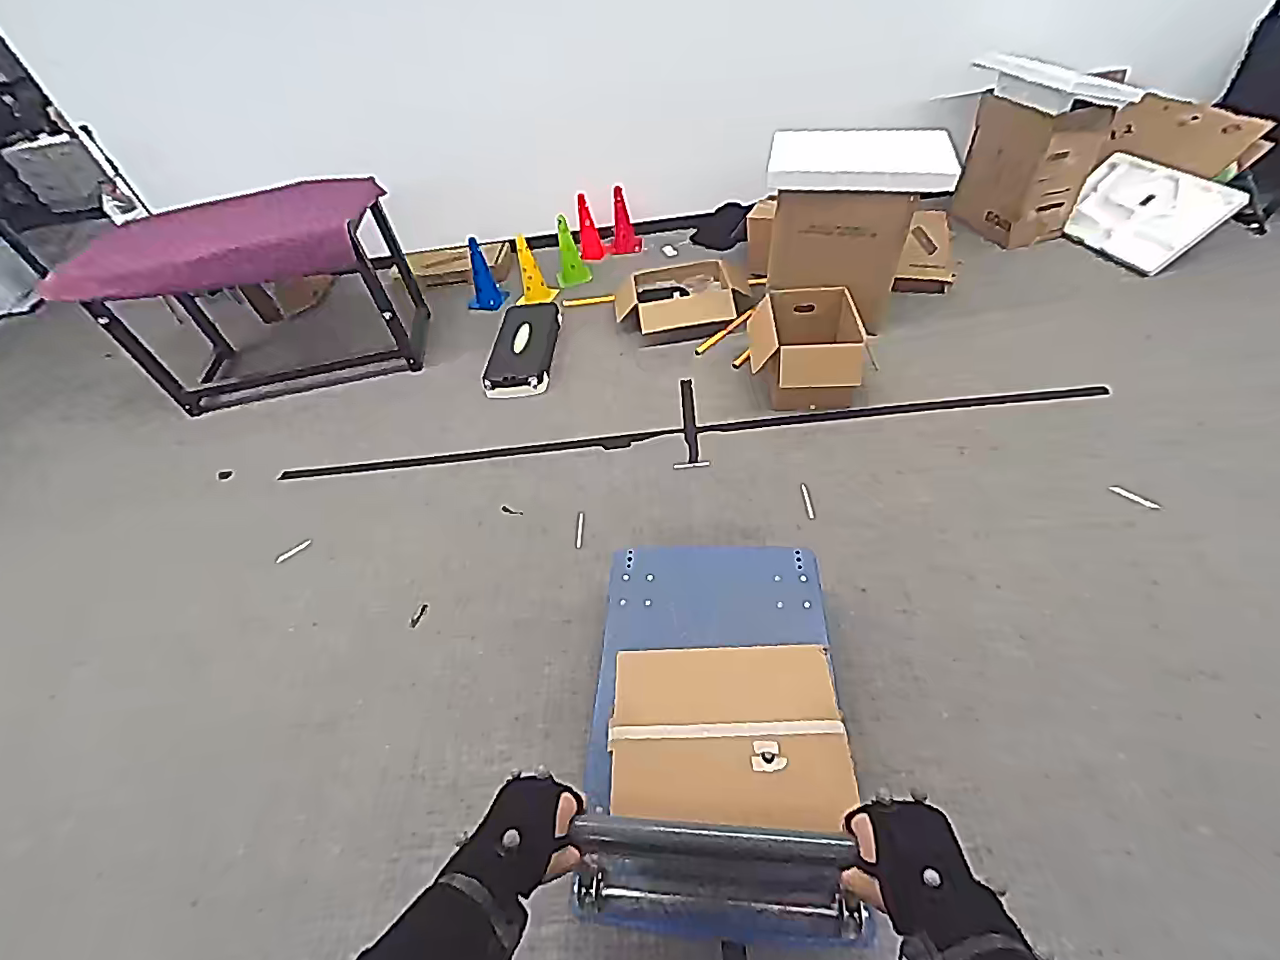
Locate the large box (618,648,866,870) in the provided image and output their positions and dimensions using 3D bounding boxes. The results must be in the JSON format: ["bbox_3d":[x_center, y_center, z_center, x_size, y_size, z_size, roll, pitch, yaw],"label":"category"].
[{"bbox_3d":[0.171,0.554,1.068,0.408,0.320,0.320,-4,47,4],"label":"large box"}]
